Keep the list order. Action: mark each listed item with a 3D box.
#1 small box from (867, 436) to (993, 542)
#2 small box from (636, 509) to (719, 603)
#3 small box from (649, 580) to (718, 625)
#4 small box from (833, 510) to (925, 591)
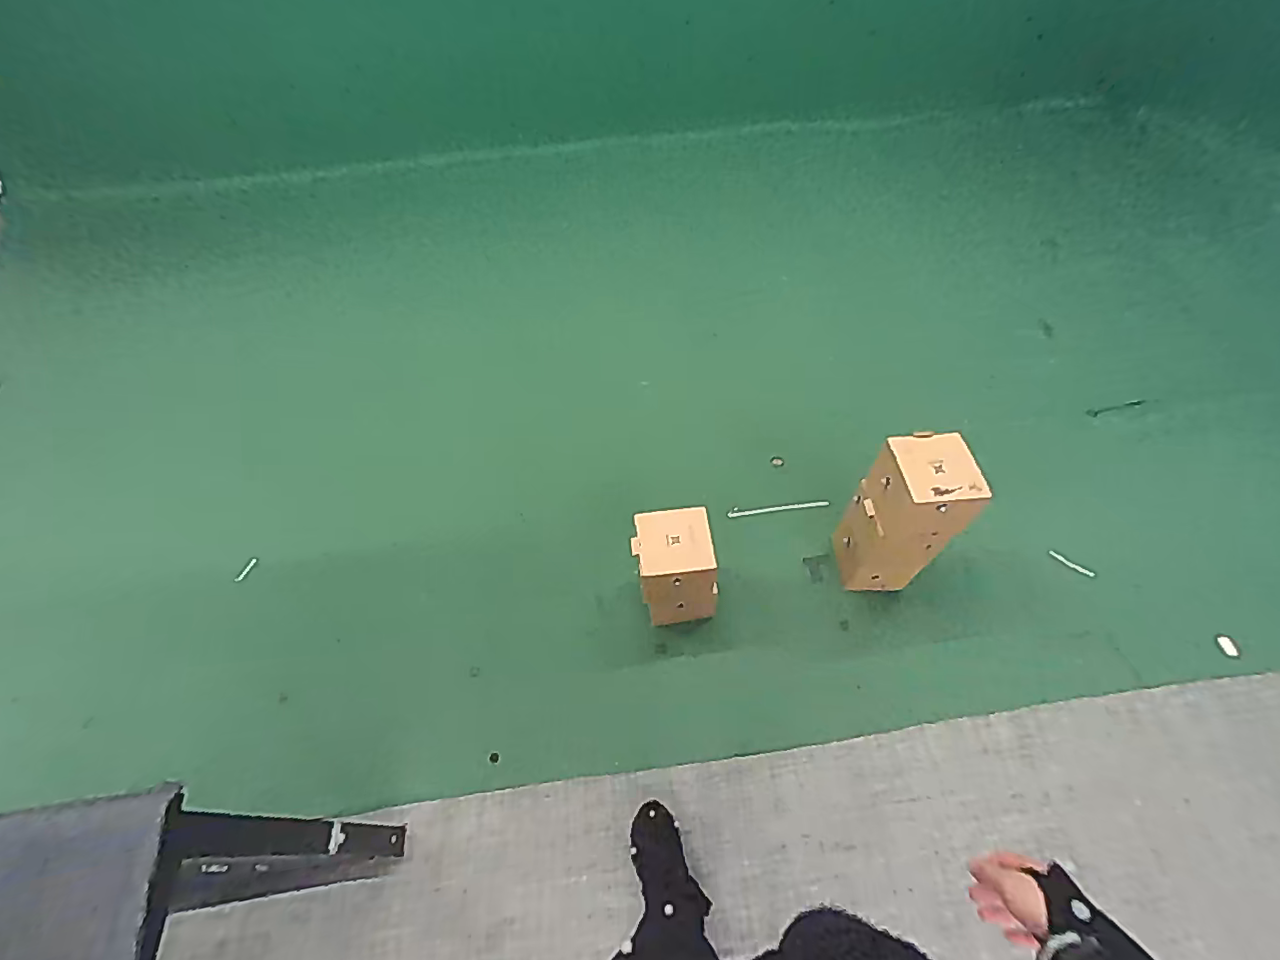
[{"bbox_3d":[0.637,0.022,1.216,0.168,0.176,0.179,-4,55,-2],"label":"small box"},{"bbox_3d":[0.087,0.189,1.319,0.179,0.176,0.168,-6,57,-3],"label":"small box"},{"bbox_3d":[0.104,0.278,1.455,0.179,0.176,0.168,-8,57,-3],"label":"small box"},{"bbox_3d":[0.651,0.198,1.494,0.168,0.176,0.179,-1,55,1],"label":"small box"}]
